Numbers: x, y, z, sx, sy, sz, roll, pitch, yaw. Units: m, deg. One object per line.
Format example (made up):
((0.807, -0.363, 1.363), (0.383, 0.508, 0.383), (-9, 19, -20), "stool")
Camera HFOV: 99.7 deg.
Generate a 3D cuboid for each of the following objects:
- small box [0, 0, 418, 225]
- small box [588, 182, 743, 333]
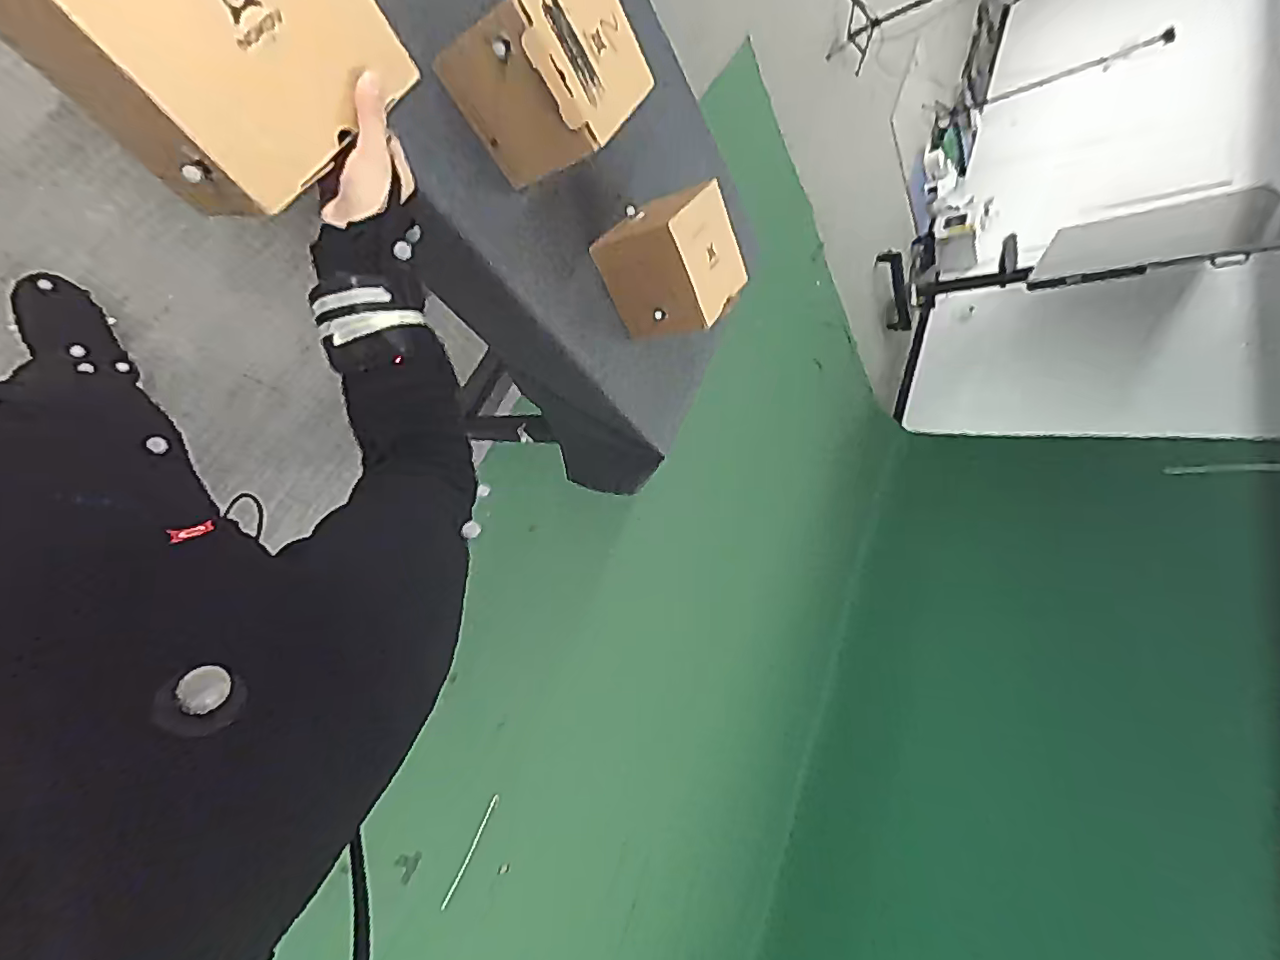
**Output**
((-0.308, -0.305, 0.378), (0.168, 0.176, 0.179), (-57, 145, -17), "small box")
((0.045, -0.366, 0.919), (0.168, 0.176, 0.179), (-55, 130, -32), "small box")
